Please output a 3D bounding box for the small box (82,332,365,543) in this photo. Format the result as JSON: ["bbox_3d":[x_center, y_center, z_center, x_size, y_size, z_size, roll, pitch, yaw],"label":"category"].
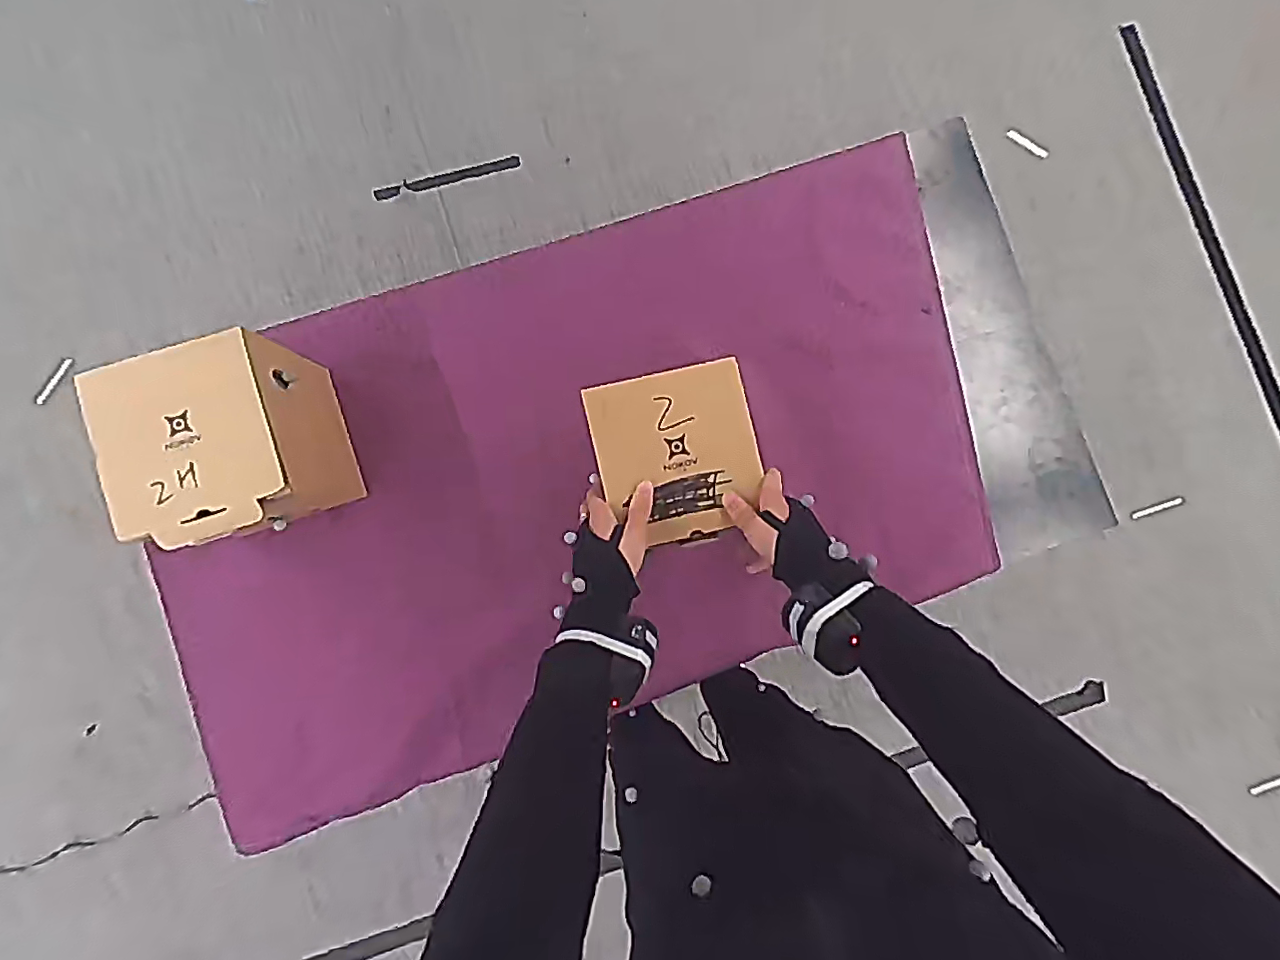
[{"bbox_3d":[-0.445,-0.037,0.609,0.168,0.176,0.179,-18,88,-3],"label":"small box"}]
